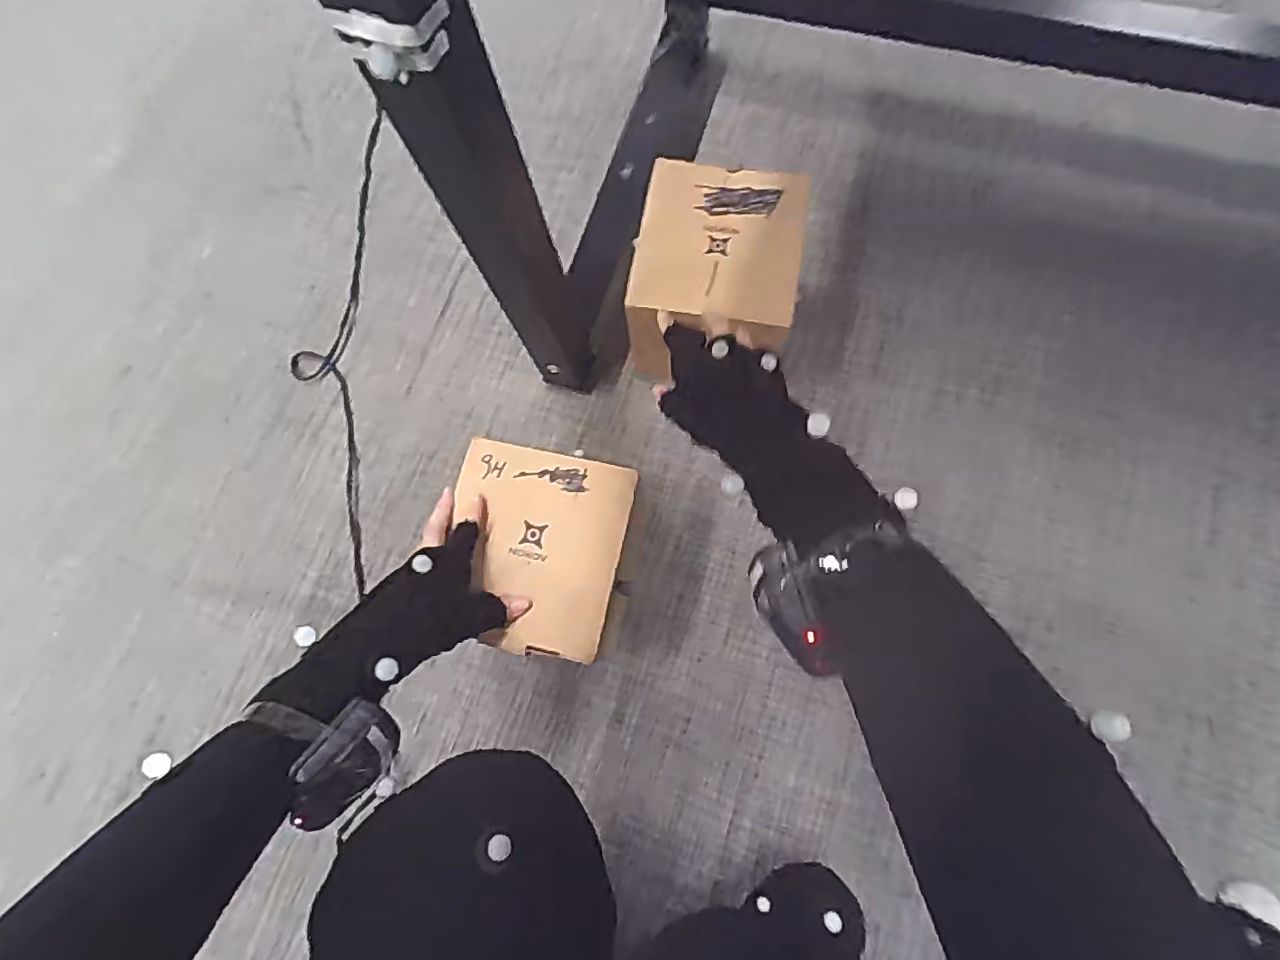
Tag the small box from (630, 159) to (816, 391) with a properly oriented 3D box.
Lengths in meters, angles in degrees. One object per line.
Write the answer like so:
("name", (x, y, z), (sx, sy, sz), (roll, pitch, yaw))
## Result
("small box", (0.090, -0.225, 0.623), (0.168, 0.176, 0.179), (10, 78, 6))
